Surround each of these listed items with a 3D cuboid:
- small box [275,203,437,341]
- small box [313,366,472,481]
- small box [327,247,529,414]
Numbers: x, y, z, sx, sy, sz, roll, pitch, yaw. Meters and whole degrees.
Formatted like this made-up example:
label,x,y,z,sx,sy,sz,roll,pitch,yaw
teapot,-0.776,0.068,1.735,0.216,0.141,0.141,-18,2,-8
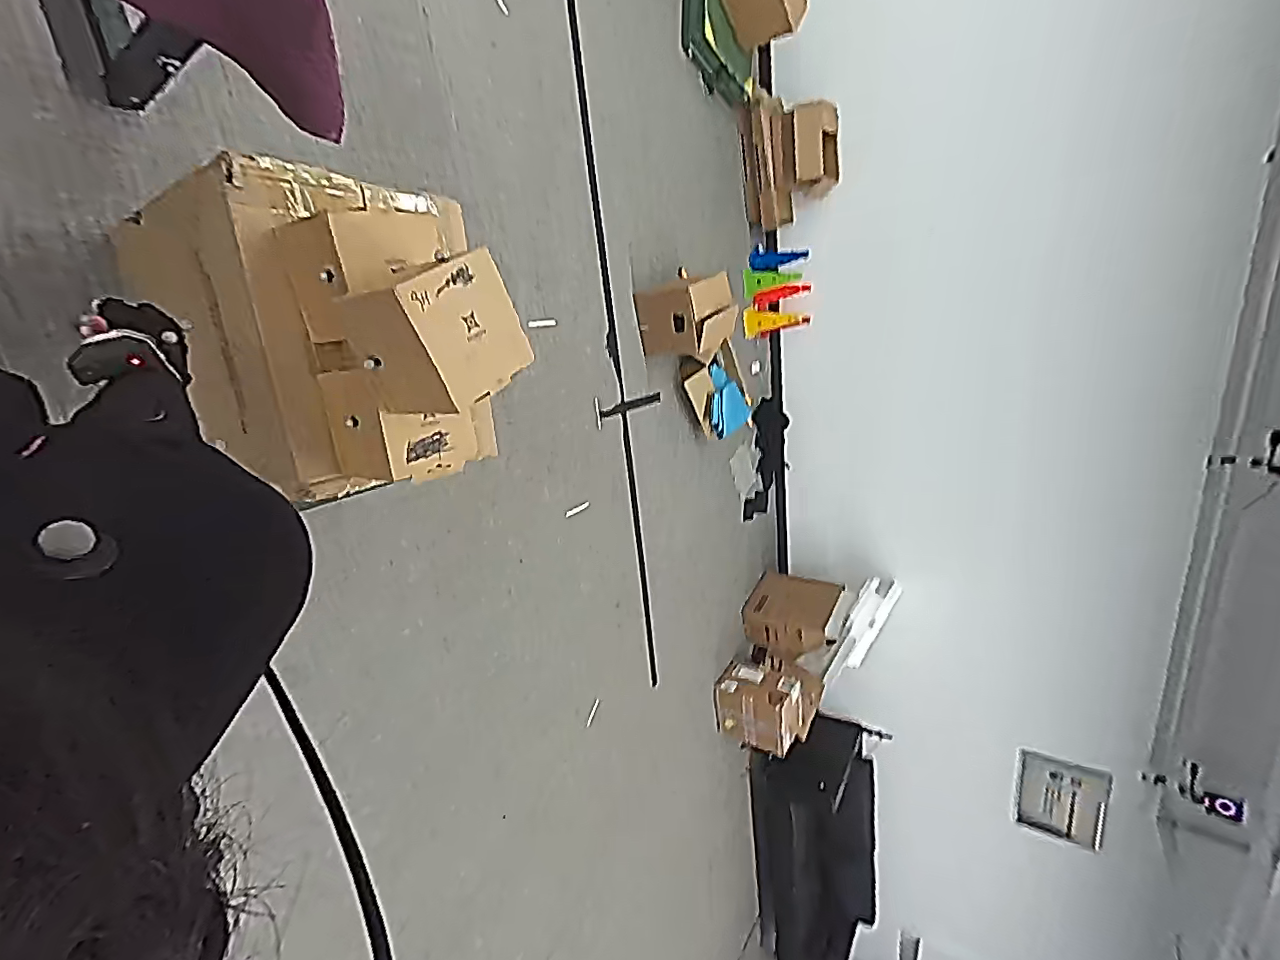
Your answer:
label,x,y,z,sx,sy,sz,roll,pitch,yaw
small box,-0.435,-0.321,0.852,0.168,0.176,0.179,-31,121,-49
small box,-0.414,-0.106,0.910,0.168,0.176,0.179,-25,112,-52
small box,-0.299,-0.212,0.776,0.168,0.176,0.179,-50,133,-40
